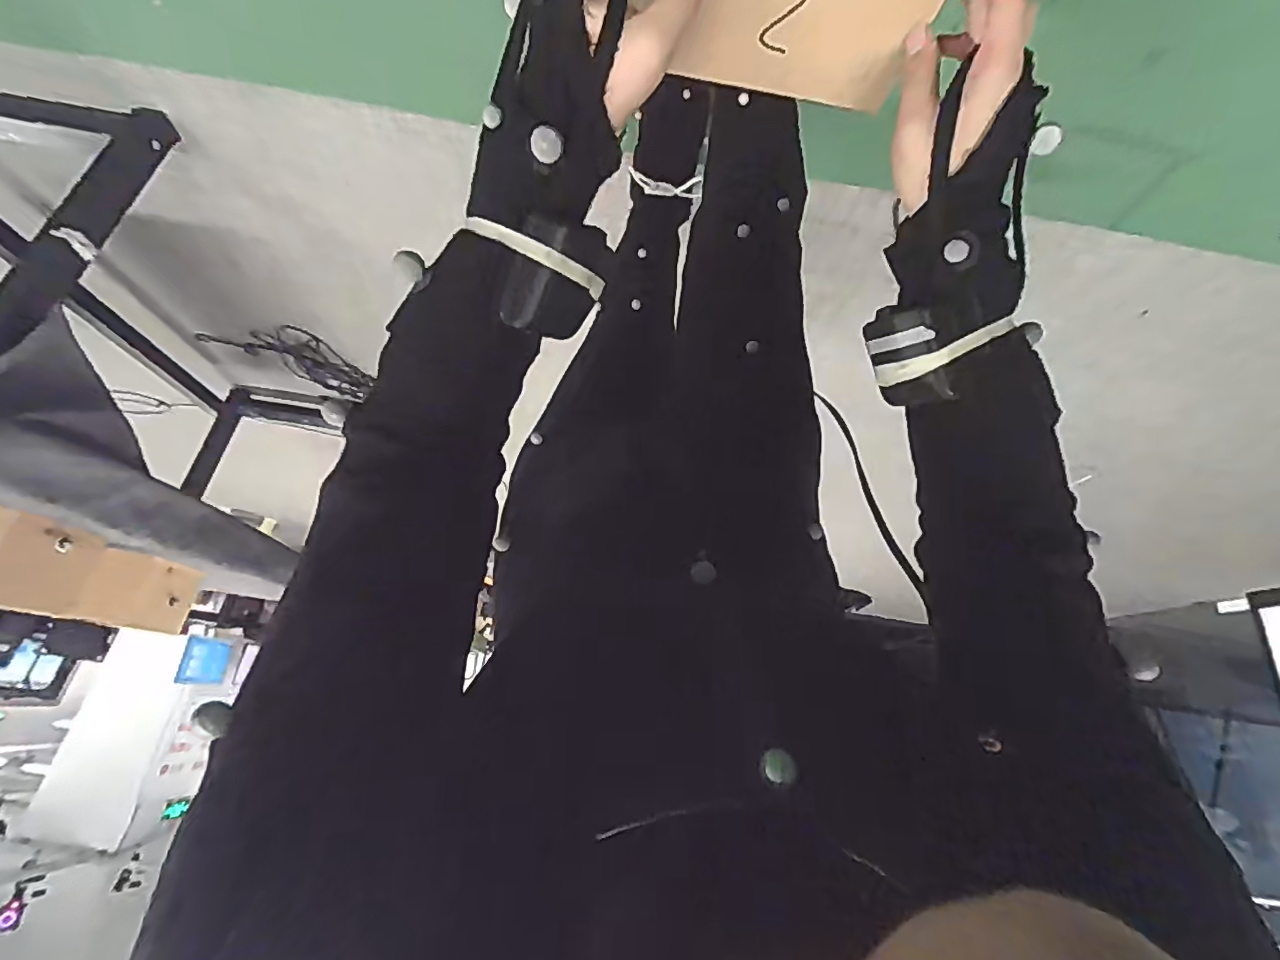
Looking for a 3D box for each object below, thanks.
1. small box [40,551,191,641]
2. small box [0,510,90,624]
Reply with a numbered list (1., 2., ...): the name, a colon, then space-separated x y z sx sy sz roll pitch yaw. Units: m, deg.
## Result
1. small box: -1.204 0.272 1.260 0.179 0.176 0.168 7 157 4
2. small box: -1.162 0.149 0.961 0.179 0.176 0.168 6 158 5
